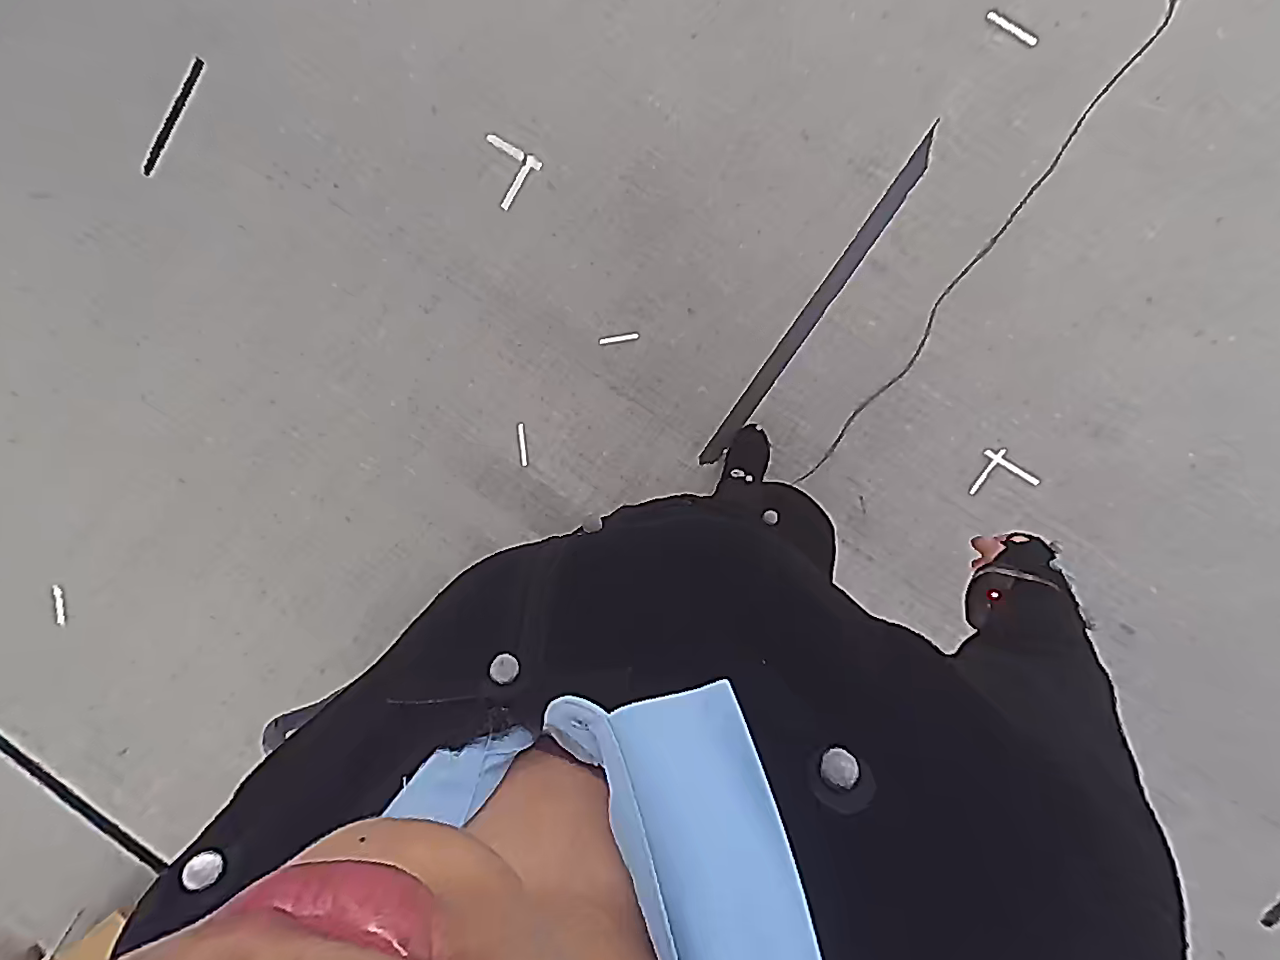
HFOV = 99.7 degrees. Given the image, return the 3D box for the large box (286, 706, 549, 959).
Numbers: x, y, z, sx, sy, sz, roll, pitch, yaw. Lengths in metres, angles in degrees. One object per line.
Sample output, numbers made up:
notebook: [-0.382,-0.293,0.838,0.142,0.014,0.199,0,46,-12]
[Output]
large box: [-0.487,0.817,1.259,0.408,0.320,0.320,33,96,2]
